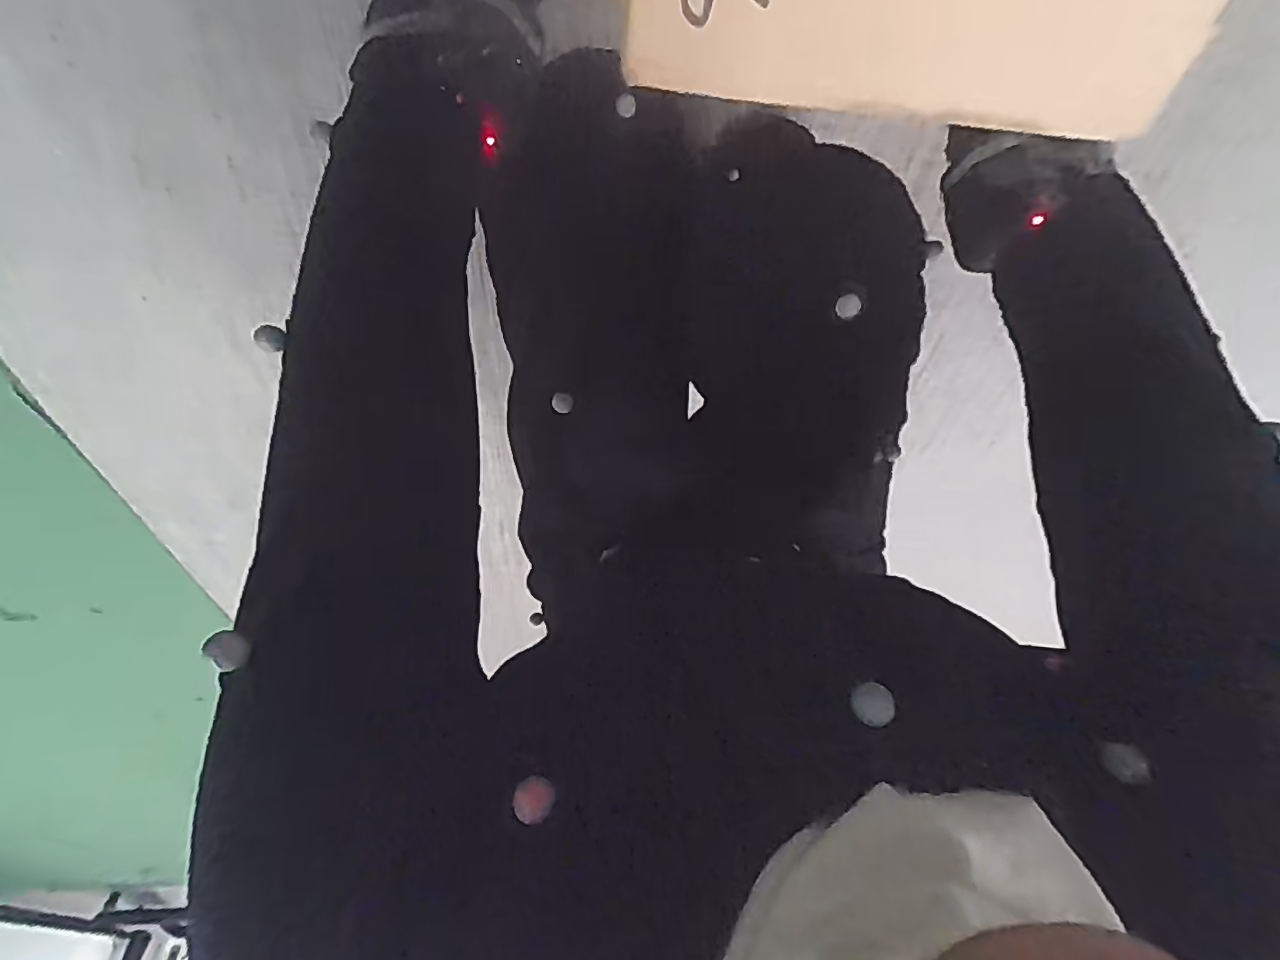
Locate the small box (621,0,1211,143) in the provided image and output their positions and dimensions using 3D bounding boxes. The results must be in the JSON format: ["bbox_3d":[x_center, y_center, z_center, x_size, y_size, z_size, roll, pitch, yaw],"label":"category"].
[{"bbox_3d":[0.088,-0.235,0.176,0.179,0.176,0.168,3,136,-5],"label":"small box"}]
